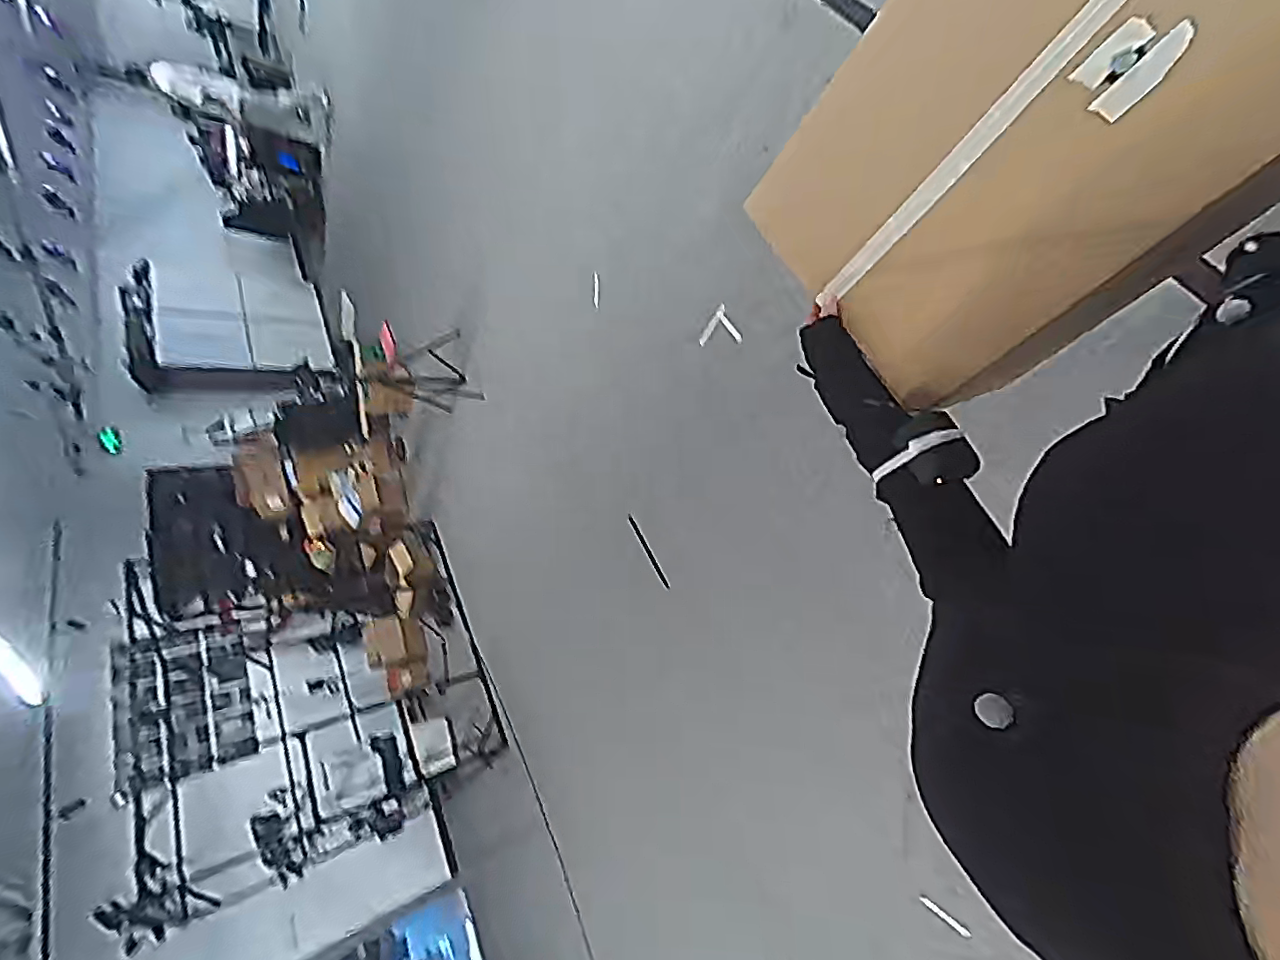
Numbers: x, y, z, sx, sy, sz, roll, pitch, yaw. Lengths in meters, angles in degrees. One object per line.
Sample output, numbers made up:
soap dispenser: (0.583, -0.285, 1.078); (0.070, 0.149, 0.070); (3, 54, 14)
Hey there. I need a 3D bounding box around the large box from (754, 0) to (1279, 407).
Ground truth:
large box: (0.406, -0.328, 0.553); (0.320, 0.320, 0.408); (58, 135, 16)
